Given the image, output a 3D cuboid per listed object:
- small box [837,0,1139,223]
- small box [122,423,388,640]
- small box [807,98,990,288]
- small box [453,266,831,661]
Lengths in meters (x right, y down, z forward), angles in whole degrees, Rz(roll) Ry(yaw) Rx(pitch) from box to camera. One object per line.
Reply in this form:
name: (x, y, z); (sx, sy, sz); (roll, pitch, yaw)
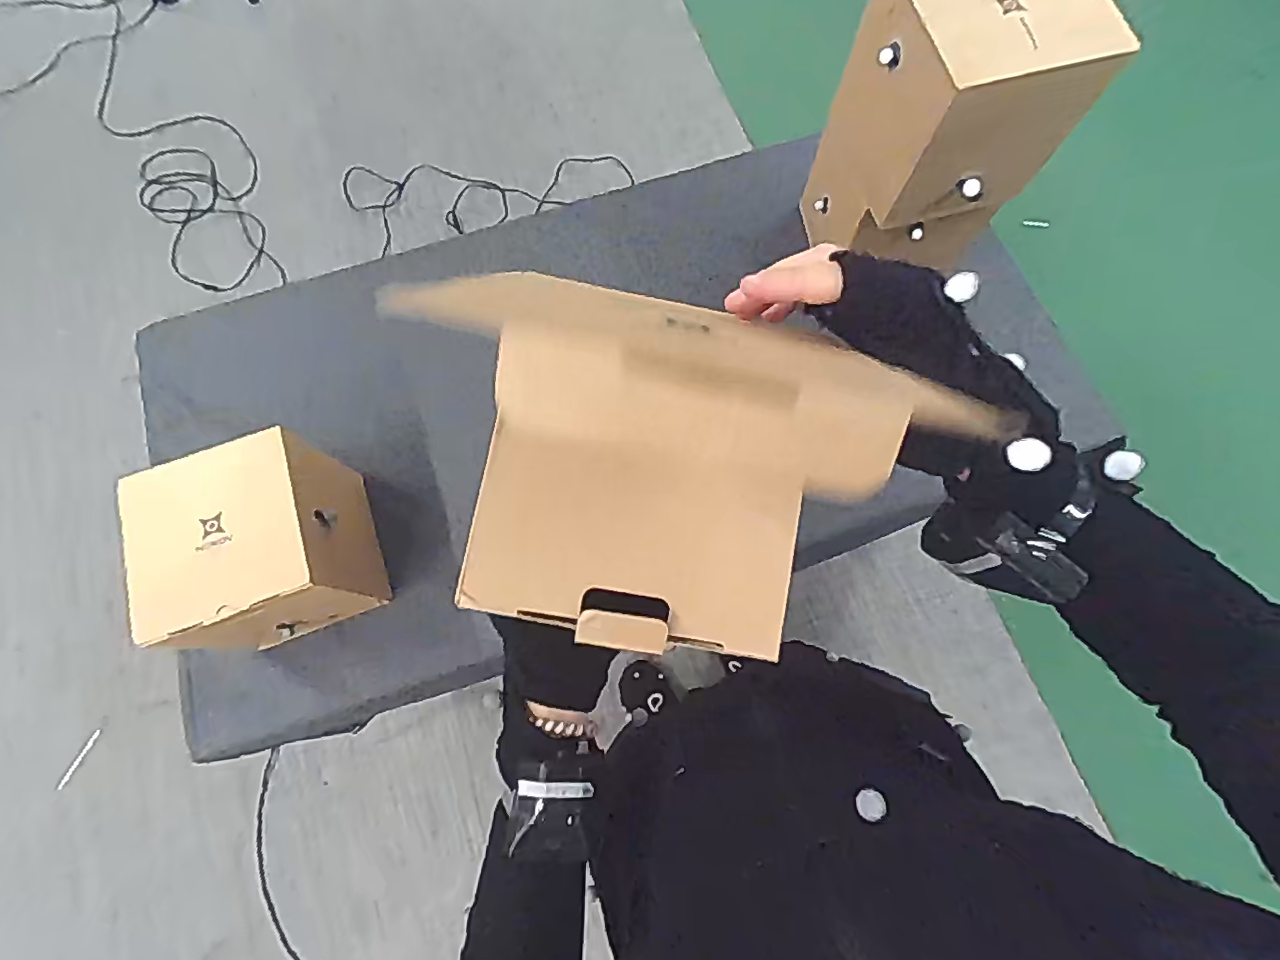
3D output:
small box: (0.325, -0.402, 0.551); (0.168, 0.176, 0.179); (-13, 75, -2)
small box: (-0.410, 0.067, 0.599); (0.168, 0.176, 0.179); (-20, 74, -5)
small box: (0.333, -0.375, 0.714); (0.179, 0.176, 0.168); (-7, 74, -1)
small box: (0.000, -0.002, 0.352); (0.168, 0.176, 0.179); (12, 82, -3)
